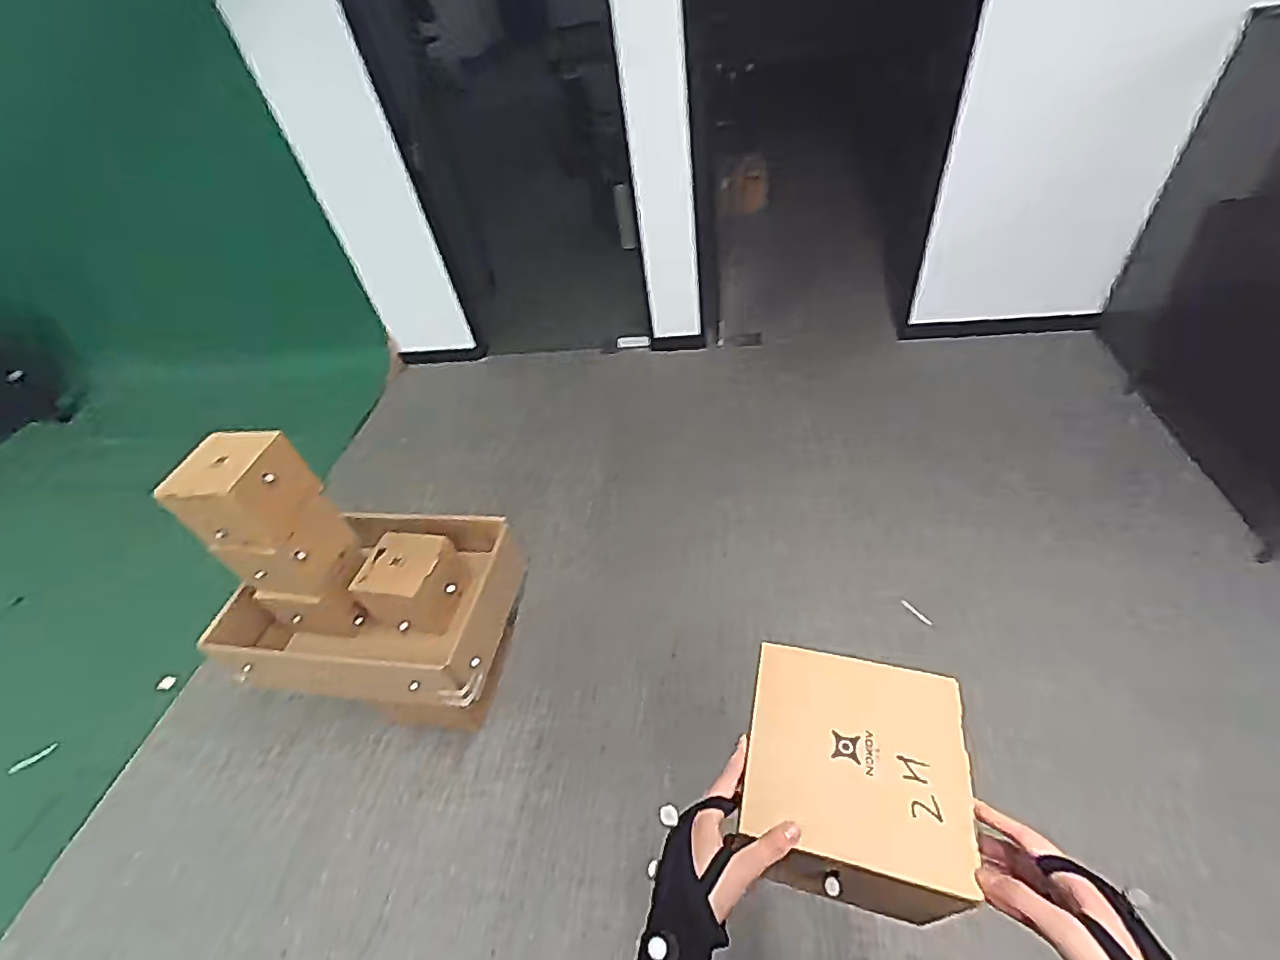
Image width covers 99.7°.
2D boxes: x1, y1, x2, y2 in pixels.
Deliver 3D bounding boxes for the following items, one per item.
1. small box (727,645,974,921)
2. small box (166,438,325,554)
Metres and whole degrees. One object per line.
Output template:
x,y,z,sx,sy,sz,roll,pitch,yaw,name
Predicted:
0.179,0.282,0.506,0.179,0.176,0.168,7,47,14,small box
-0.792,0.031,1.115,0.168,0.176,0.179,0,45,11,small box
